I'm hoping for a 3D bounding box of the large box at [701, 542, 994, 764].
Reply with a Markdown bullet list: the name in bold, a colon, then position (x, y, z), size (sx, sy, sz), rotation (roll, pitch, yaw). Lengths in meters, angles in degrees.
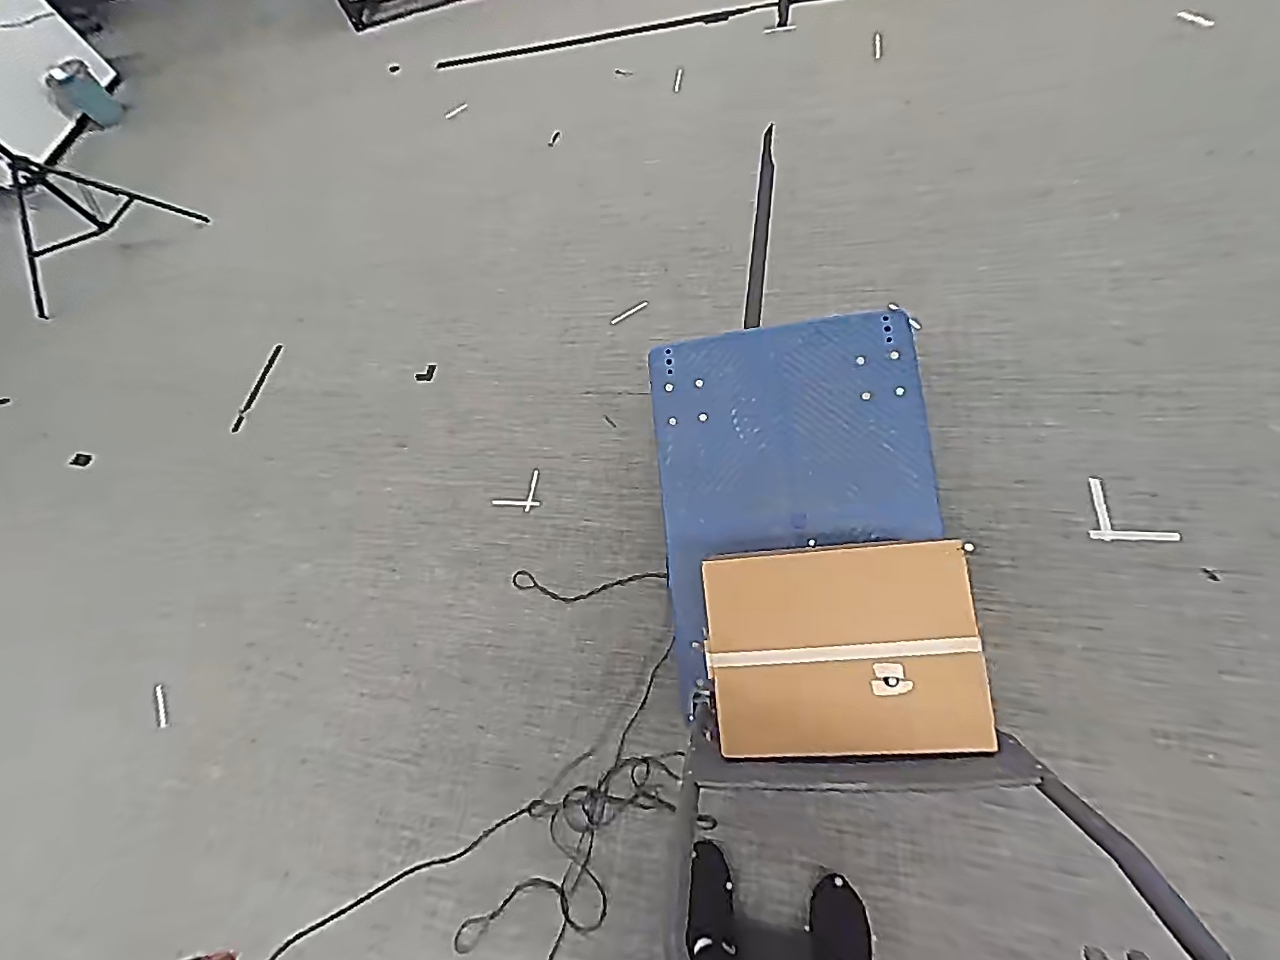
- **large box**: position (0.334, 0.289, 0.986), size (0.408, 0.320, 0.320), rotation (-7, 83, 9)
